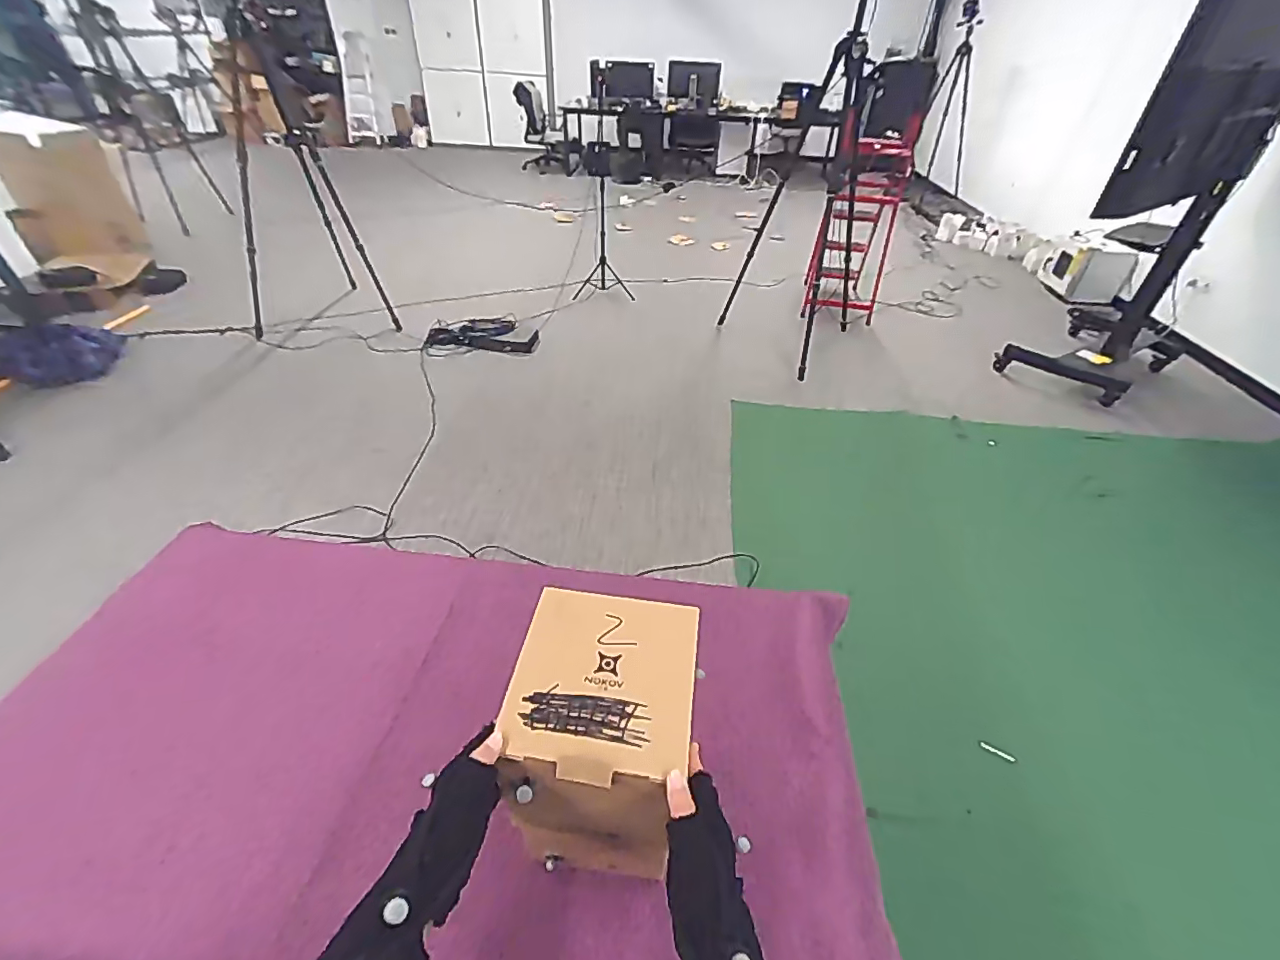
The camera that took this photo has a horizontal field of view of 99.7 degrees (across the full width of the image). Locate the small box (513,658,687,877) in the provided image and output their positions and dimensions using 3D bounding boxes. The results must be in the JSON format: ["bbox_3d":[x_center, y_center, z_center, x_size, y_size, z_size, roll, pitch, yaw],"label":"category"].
[{"bbox_3d":[-0.040,0.351,0.660,0.168,0.176,0.179,9,41,5],"label":"small box"}]
